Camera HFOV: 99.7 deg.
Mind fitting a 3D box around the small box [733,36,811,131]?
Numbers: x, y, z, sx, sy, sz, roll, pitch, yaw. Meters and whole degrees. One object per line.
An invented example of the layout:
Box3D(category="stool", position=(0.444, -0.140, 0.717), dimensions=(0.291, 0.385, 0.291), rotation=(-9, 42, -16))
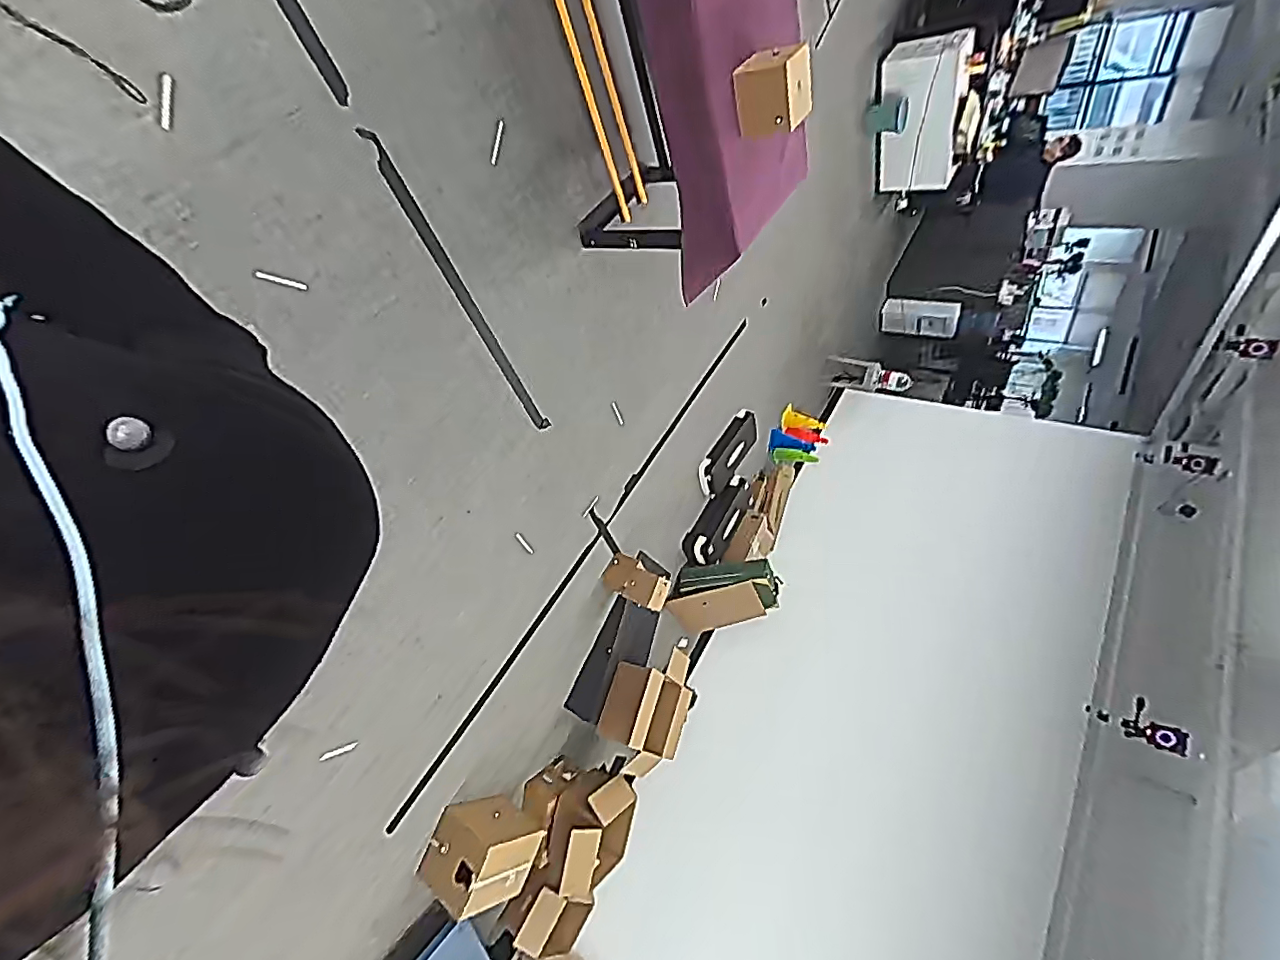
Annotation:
Box3D(category="small box", position=(0.388, -1.161, 1.592), dimensions=(0.168, 0.176, 0.179), rotation=(-55, 144, -26))
